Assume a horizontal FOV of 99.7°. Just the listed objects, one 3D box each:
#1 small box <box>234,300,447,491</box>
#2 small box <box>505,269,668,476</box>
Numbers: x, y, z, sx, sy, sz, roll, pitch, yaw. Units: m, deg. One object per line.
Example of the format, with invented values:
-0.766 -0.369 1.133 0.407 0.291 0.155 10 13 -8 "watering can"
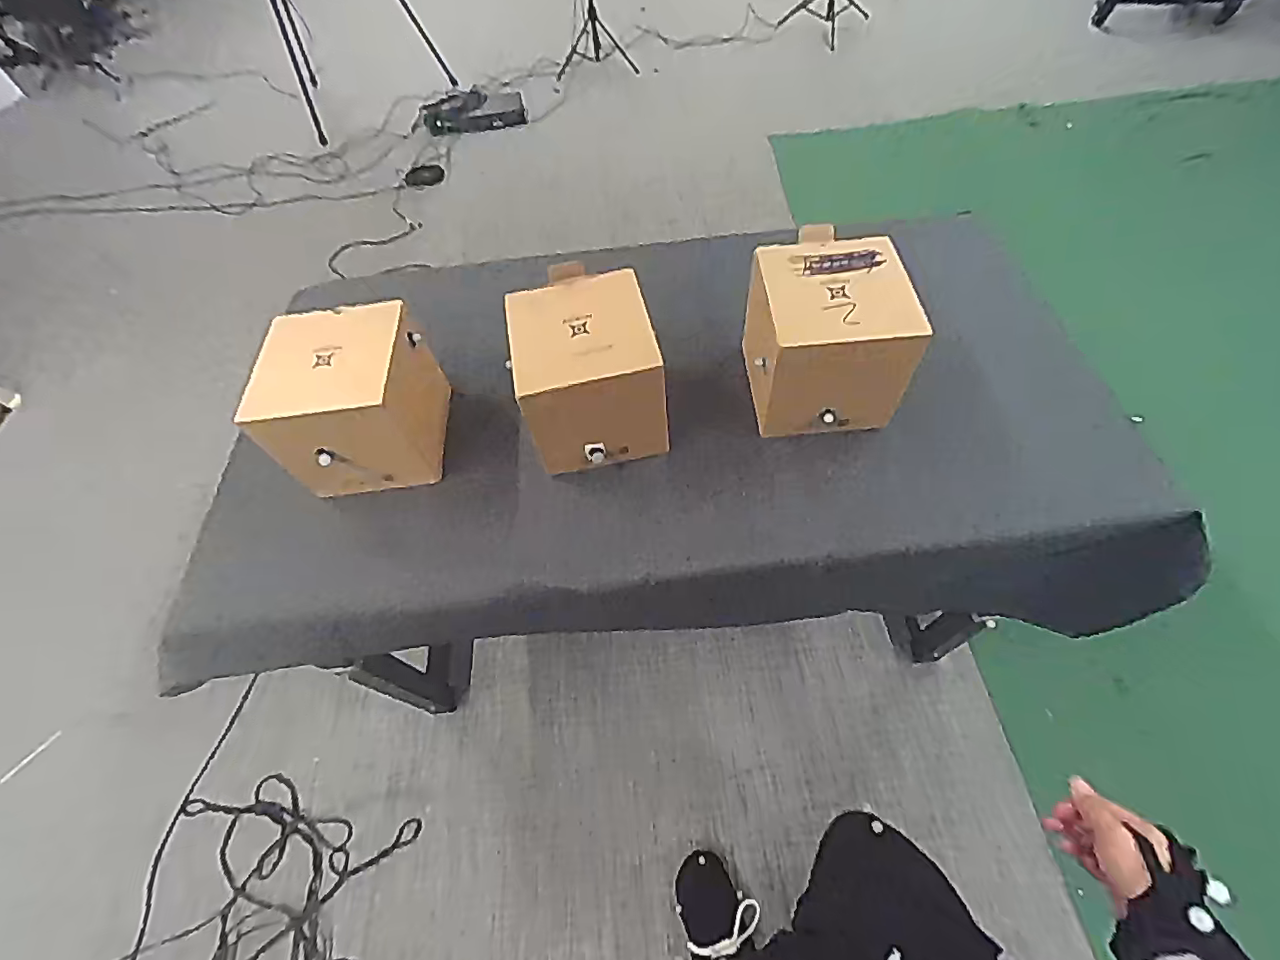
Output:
-0.361 -0.099 0.694 0.168 0.176 0.179 -8 56 0 "small box"
-0.064 -0.133 0.690 0.168 0.176 0.179 -14 58 -2 "small box"
